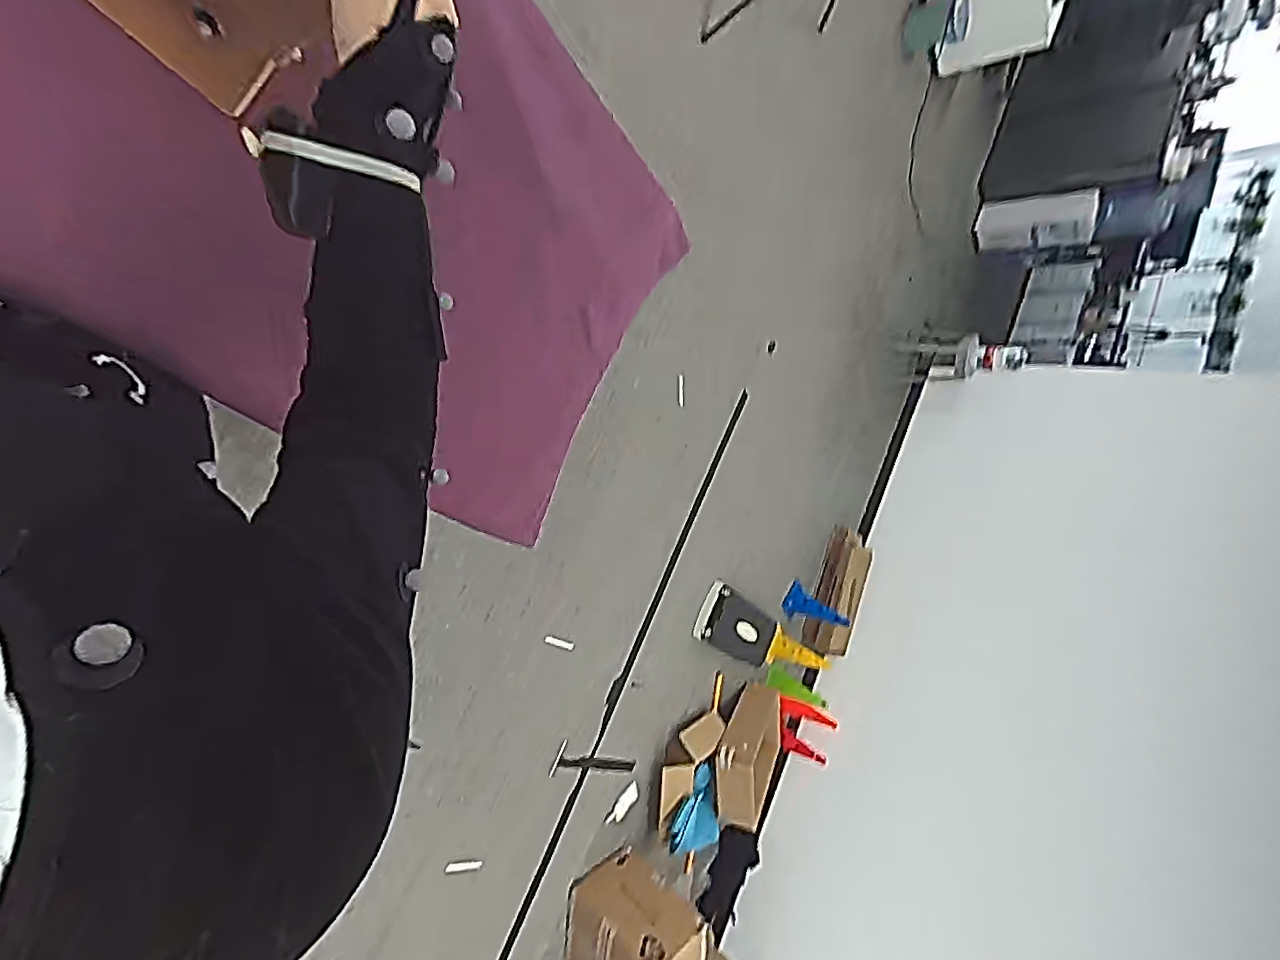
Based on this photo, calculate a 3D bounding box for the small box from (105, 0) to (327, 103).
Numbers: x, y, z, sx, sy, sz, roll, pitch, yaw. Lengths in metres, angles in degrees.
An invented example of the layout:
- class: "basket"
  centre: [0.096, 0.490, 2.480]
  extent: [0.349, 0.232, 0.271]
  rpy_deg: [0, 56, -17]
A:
- class: "small box"
  centre: [-0.341, -0.440, 0.413]
  extent: [0.179, 0.176, 0.168]
  rpy_deg: [38, 72, -47]
